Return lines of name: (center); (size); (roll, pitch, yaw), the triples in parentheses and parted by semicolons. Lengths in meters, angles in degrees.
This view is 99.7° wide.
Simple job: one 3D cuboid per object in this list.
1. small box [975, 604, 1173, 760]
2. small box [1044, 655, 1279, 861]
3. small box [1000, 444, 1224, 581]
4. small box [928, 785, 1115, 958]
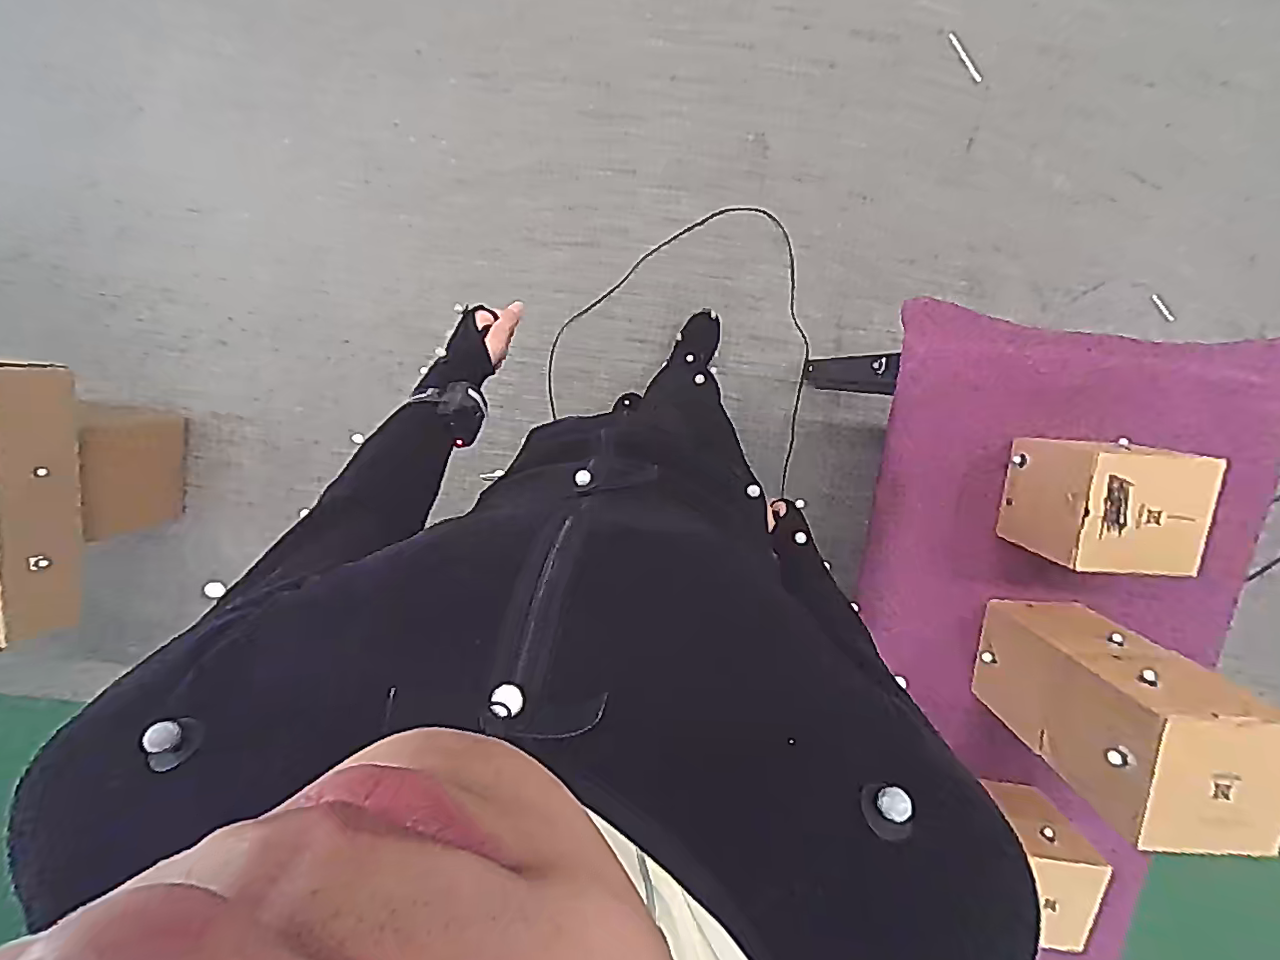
small box: (0.669, 0.317, 0.859); (0.168, 0.176, 0.179); (3, 101, 0)
small box: (0.668, 0.344, 0.698); (0.168, 0.176, 0.179); (3, 100, 1)
small box: (0.681, 0.040, 0.806); (0.179, 0.176, 0.168); (3, 101, -1)
small box: (0.635, 0.655, 0.922); (0.179, 0.176, 0.168); (9, 100, -1)
